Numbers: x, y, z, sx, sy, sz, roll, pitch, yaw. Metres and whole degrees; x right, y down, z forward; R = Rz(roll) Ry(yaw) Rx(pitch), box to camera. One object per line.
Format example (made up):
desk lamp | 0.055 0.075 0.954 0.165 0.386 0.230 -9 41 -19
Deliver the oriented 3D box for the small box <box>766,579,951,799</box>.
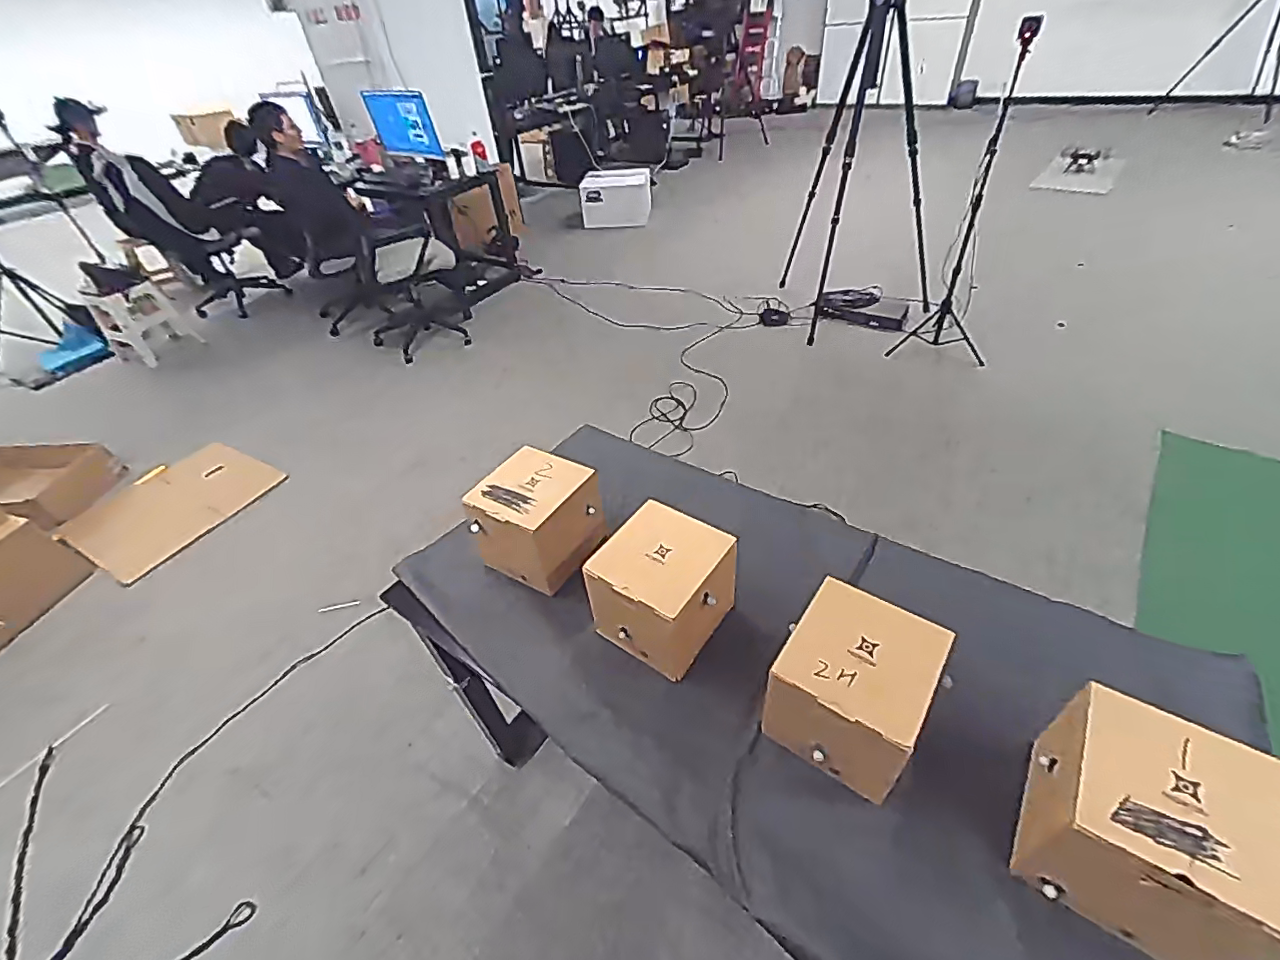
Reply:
small box | 0.278 0.273 0.714 0.168 0.176 0.179 24 50 29

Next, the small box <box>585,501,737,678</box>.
small box | 0.036 0.171 0.857 0.168 0.176 0.179 24 50 28

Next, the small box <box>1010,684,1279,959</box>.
small box | 0.527 0.368 0.580 0.168 0.176 0.179 23 48 28
